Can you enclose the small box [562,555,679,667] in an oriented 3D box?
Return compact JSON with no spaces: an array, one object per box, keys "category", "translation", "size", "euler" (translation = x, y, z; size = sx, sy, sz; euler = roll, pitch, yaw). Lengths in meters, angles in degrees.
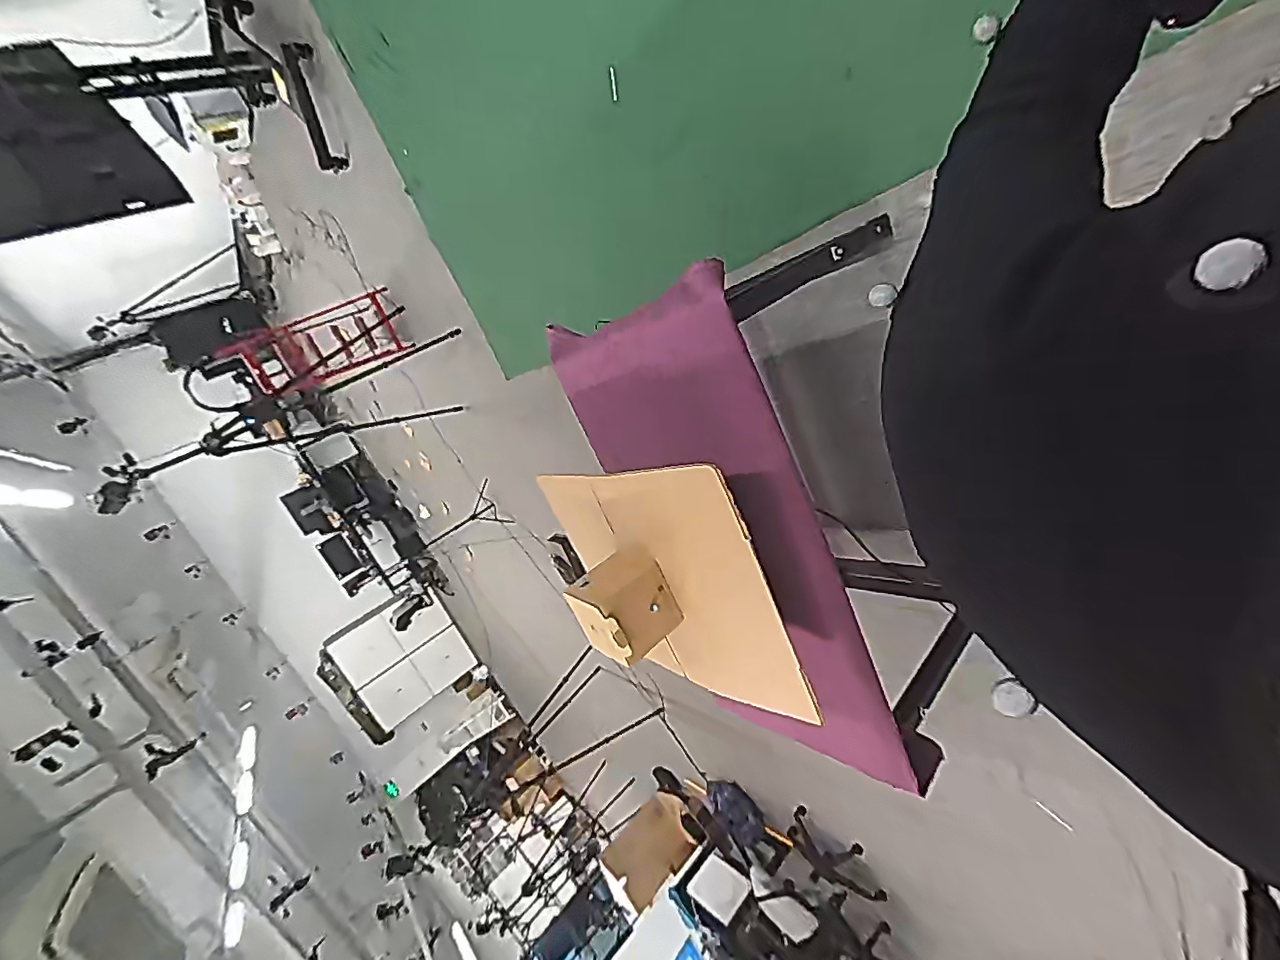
[{"category":"small box","translation":[-0.043,0.288,1.237],"size":[0.179,0.176,0.168],"euler":[1,121,55]}]
